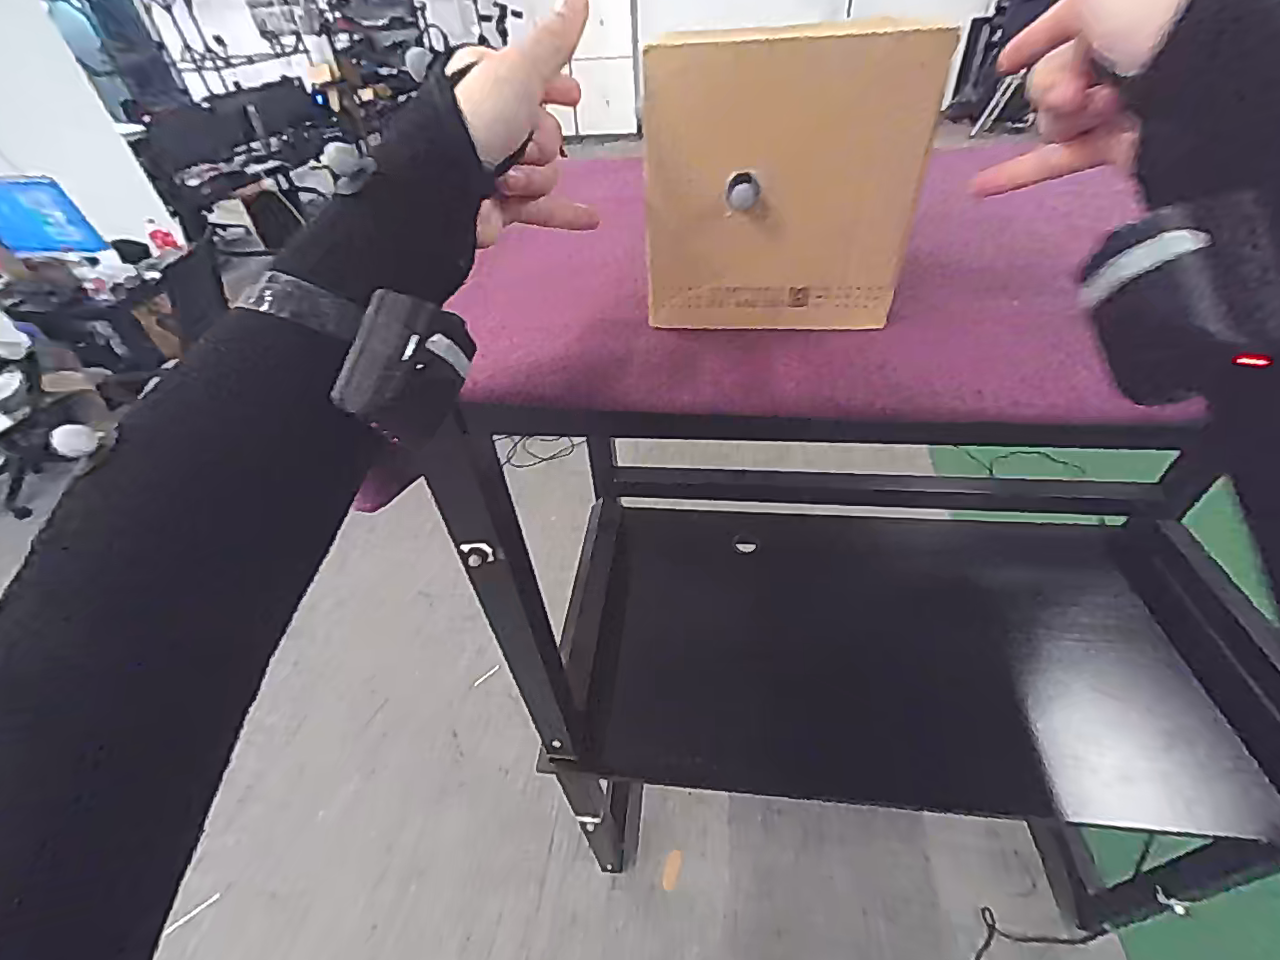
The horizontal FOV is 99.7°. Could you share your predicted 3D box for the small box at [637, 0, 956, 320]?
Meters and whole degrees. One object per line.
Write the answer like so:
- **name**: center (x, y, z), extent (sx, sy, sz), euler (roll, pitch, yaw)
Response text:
- **small box**: center (0.094, -0.227, 0.393), extent (0.168, 0.176, 0.179), euler (2, 41, 7)
